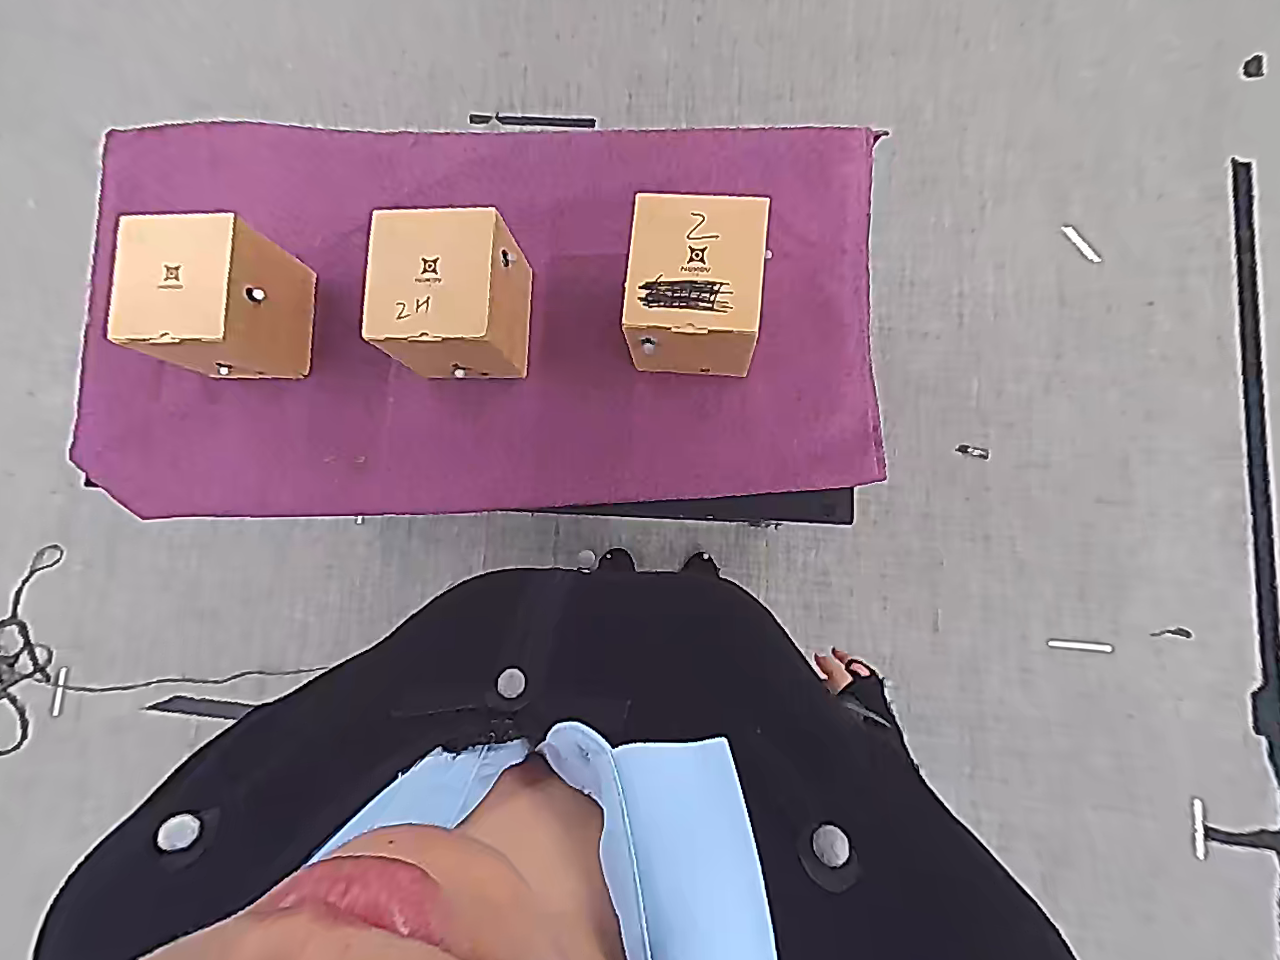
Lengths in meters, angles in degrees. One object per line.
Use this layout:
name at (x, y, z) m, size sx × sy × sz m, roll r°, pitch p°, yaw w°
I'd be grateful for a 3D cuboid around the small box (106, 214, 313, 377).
small box at (-0.611, -0.260, 0.791) m, size 0.168 × 0.176 × 0.179 m, roll 1°, pitch 85°, yaw 4°

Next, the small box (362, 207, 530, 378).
small box at (-0.259, -0.253, 0.760) m, size 0.168 × 0.176 × 0.179 m, roll 1°, pitch 85°, yaw 5°
